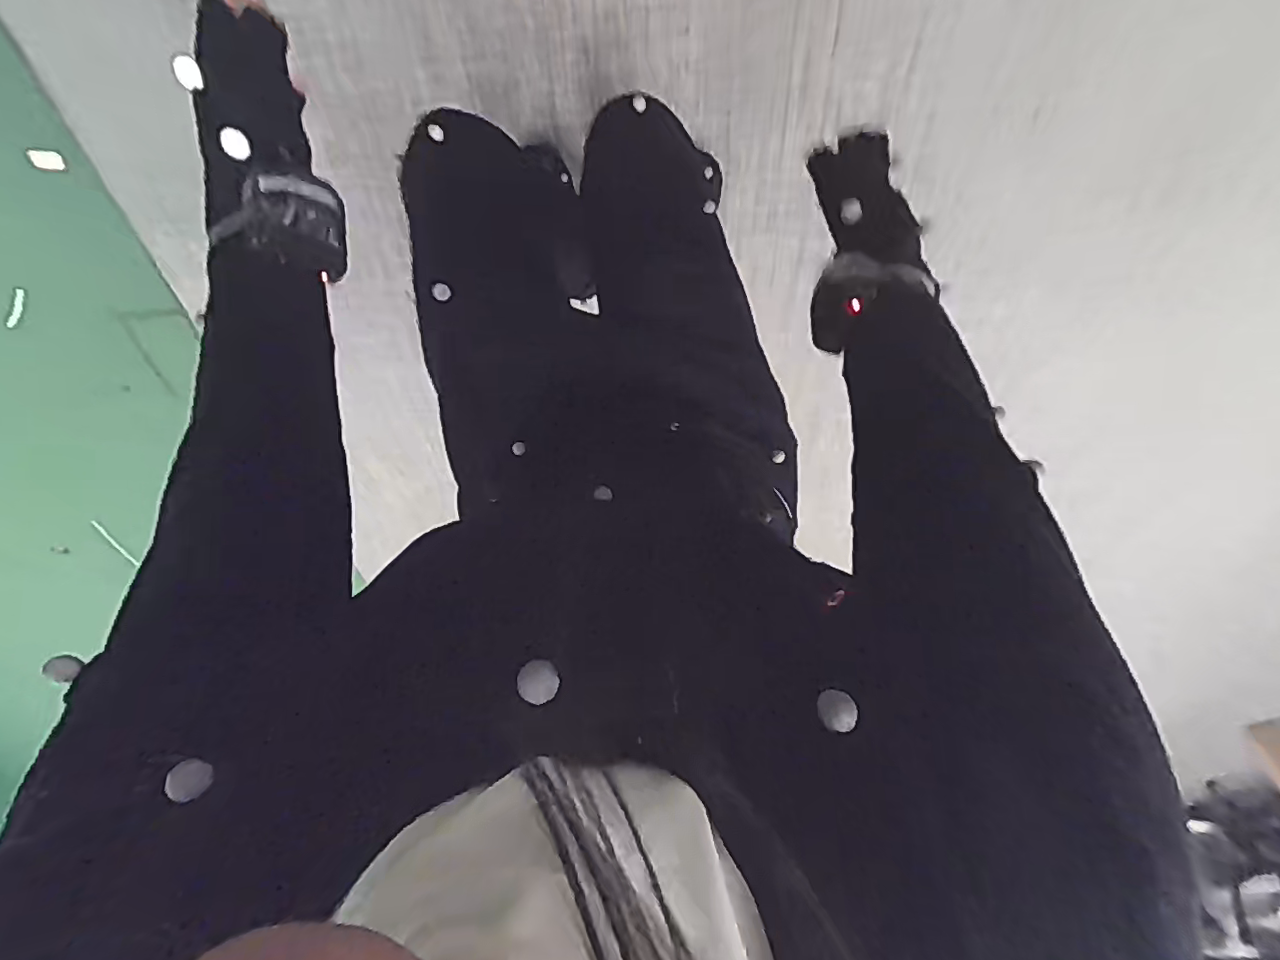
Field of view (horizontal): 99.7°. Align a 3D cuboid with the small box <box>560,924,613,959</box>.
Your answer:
[{"bbox_3d":[-0.191,1.705,1.928,0.179,0.176,0.168,0,134,1],"label":"small box"}]
